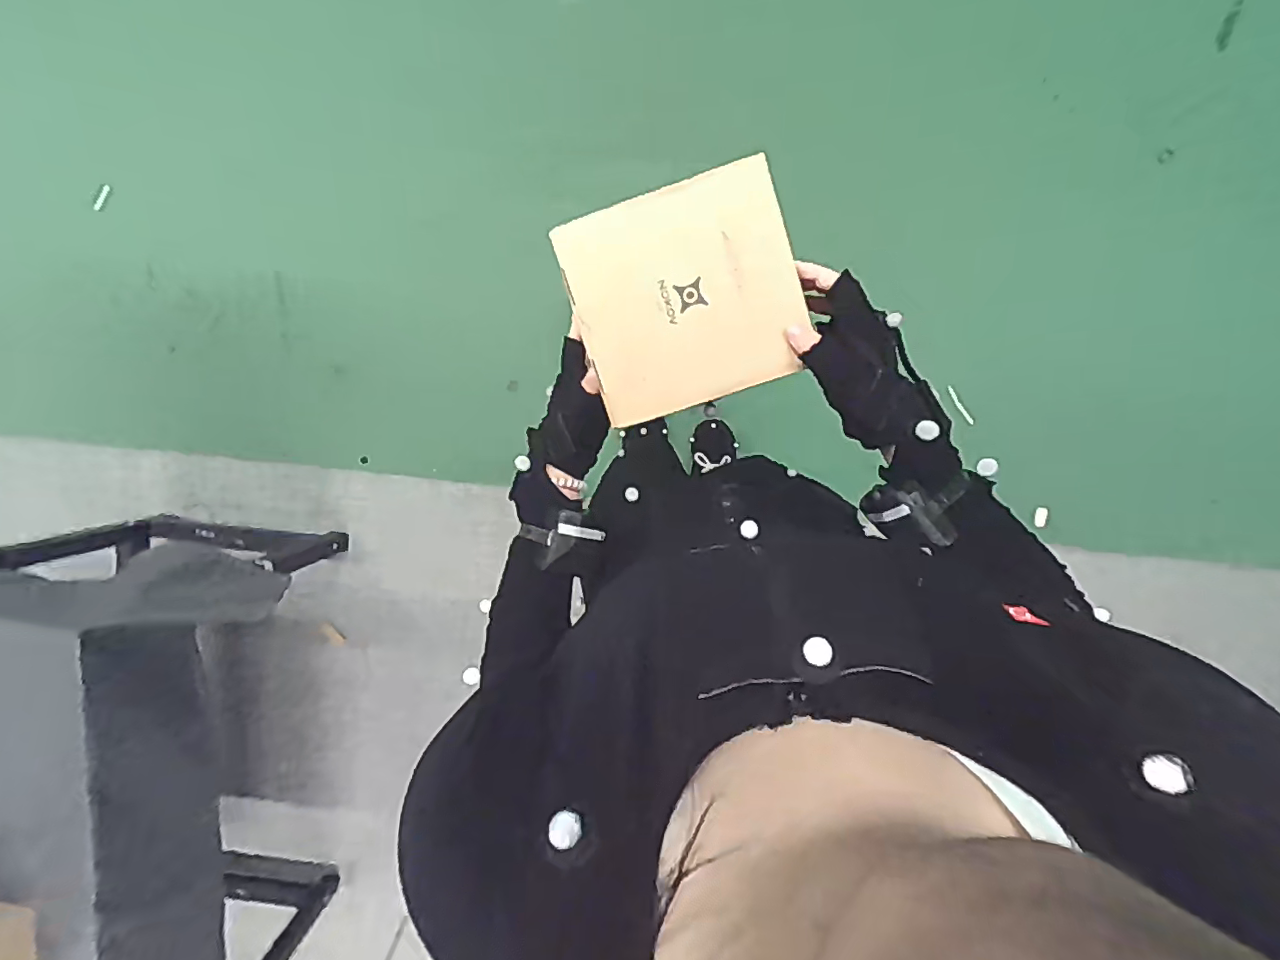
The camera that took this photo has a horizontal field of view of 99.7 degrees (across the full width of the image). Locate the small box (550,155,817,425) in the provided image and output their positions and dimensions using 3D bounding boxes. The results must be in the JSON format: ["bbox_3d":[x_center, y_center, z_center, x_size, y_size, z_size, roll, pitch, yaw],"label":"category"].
[{"bbox_3d":[0.040,-0.155,0.504,0.179,0.176,0.168,-18,97,6],"label":"small box"}]
